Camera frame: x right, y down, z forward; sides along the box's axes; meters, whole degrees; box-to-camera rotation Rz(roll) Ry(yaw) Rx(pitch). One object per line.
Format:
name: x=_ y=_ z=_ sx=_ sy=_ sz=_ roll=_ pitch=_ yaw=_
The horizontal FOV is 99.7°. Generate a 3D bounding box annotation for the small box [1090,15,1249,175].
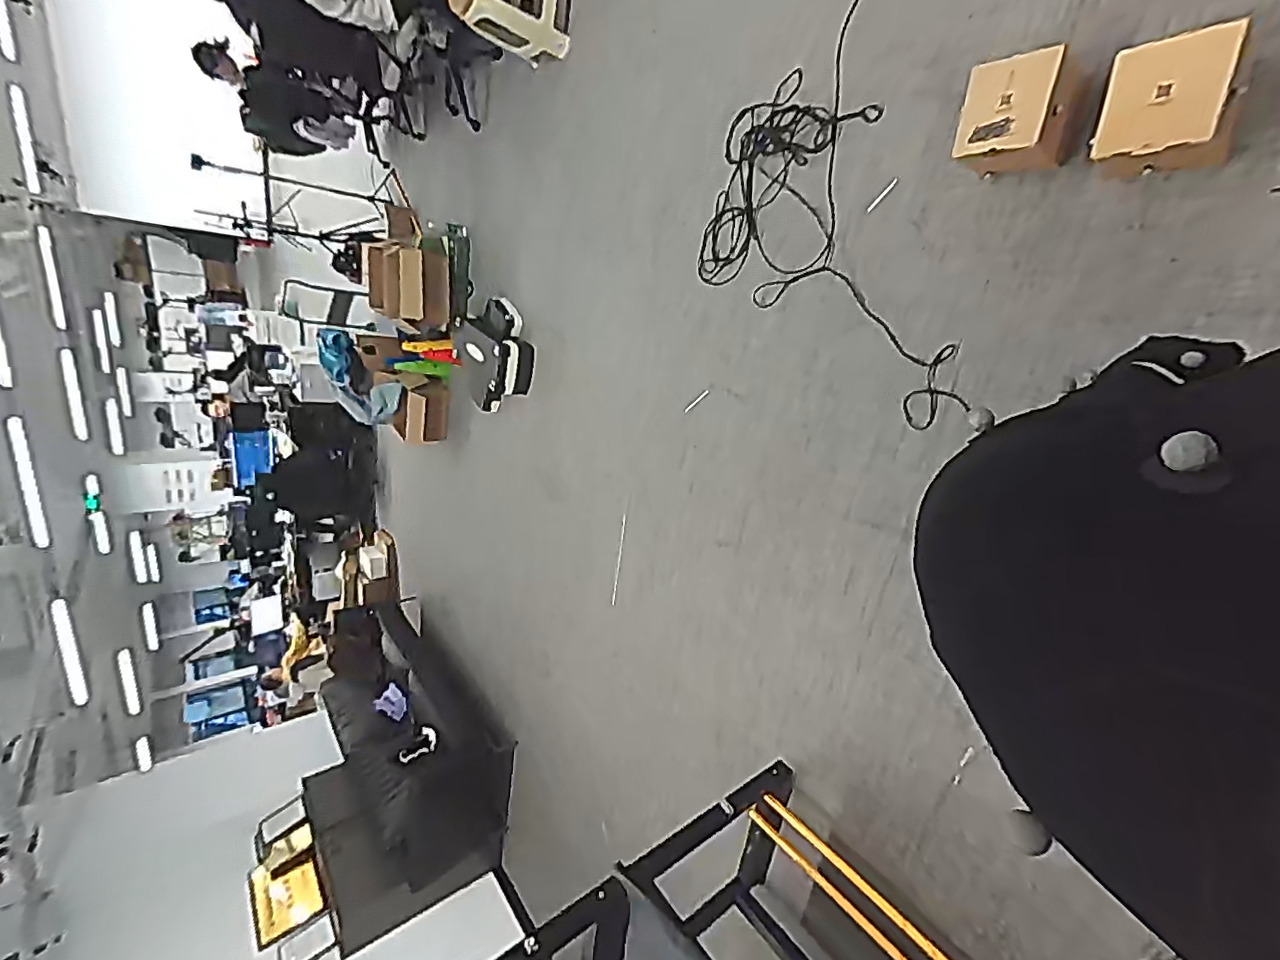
small box: x=0.960 y=-0.681 z=0.982 sx=0.168 sy=0.176 sz=0.179 roll=21 pitch=113 yaw=48

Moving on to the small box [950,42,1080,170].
small box: x=0.801 y=-0.781 z=1.156 sx=0.168 sy=0.176 sz=0.179 roll=24 pitch=114 yaw=46
